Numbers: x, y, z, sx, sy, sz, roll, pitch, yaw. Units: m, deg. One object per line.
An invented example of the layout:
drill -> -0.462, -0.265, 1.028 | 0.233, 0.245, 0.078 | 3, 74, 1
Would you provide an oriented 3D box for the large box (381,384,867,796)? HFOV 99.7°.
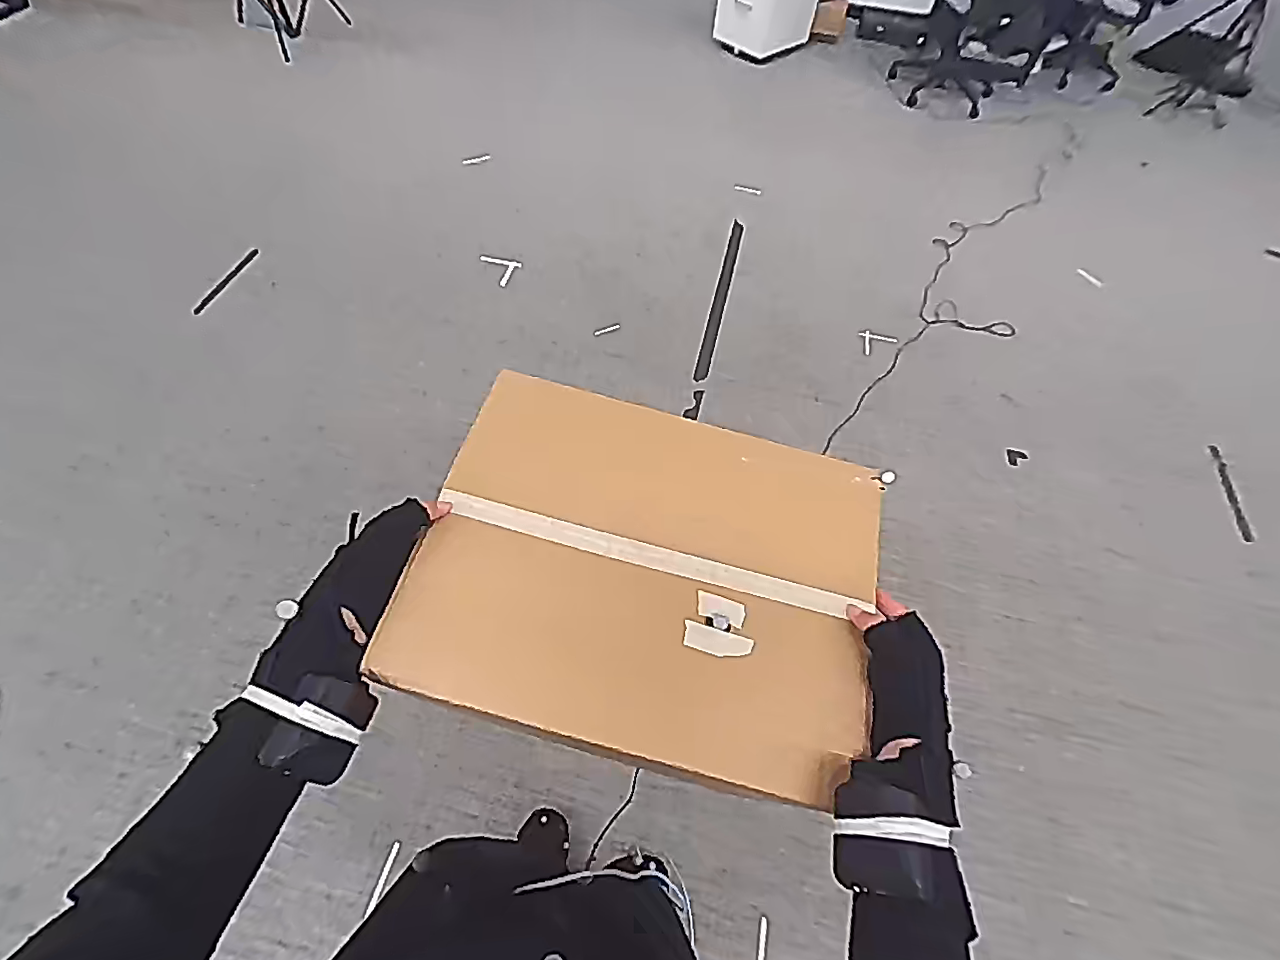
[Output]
large box -> -0.004, 0.142, 0.631 | 0.408, 0.320, 0.320 | 15, 63, 0
